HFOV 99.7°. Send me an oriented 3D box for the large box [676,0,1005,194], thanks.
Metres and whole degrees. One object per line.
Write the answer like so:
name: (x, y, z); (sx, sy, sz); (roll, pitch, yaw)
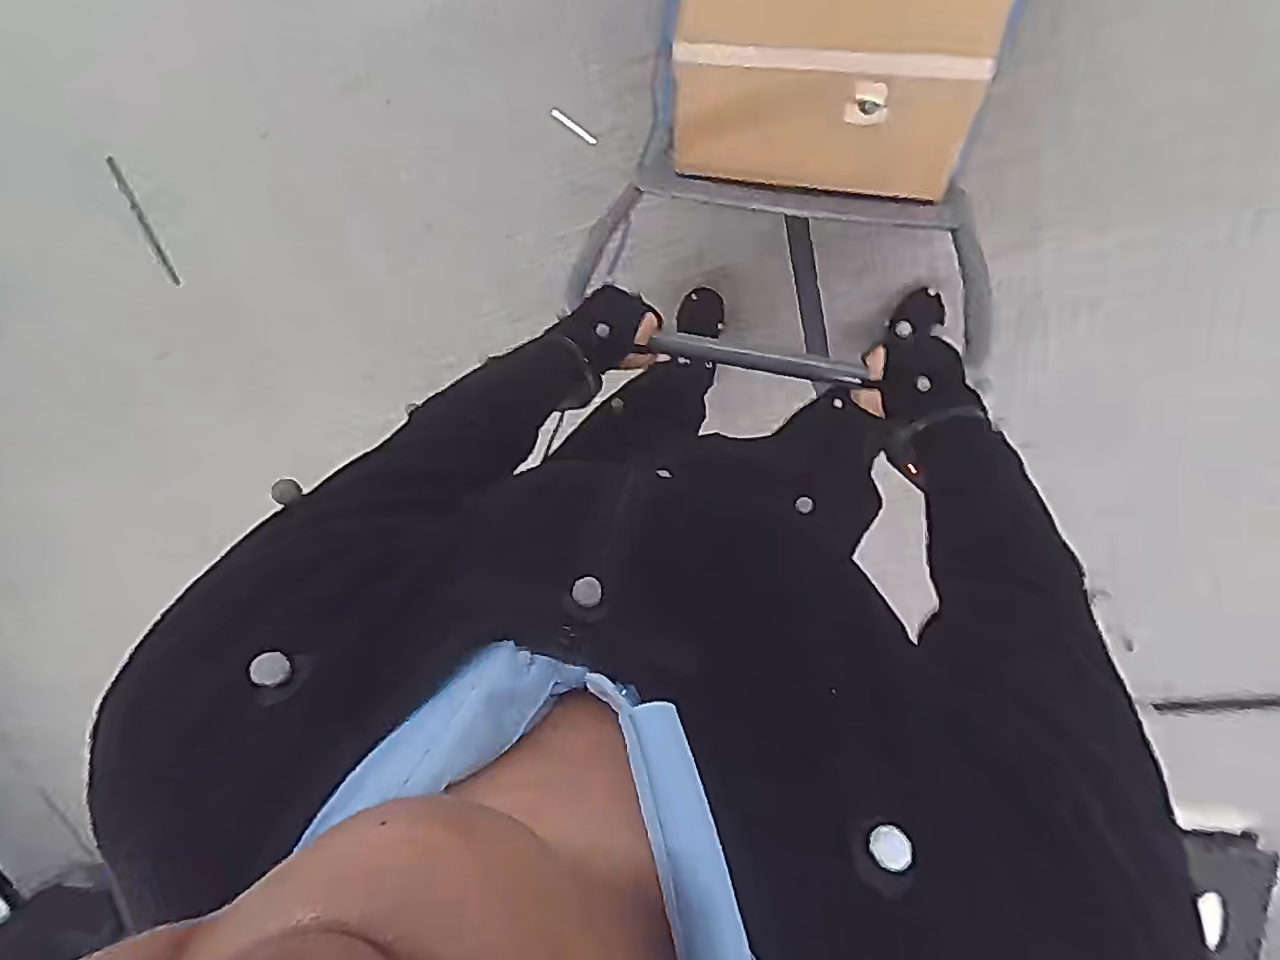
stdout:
large box: (0.287, -0.670, 0.839); (0.408, 0.320, 0.320); (12, 135, 10)
